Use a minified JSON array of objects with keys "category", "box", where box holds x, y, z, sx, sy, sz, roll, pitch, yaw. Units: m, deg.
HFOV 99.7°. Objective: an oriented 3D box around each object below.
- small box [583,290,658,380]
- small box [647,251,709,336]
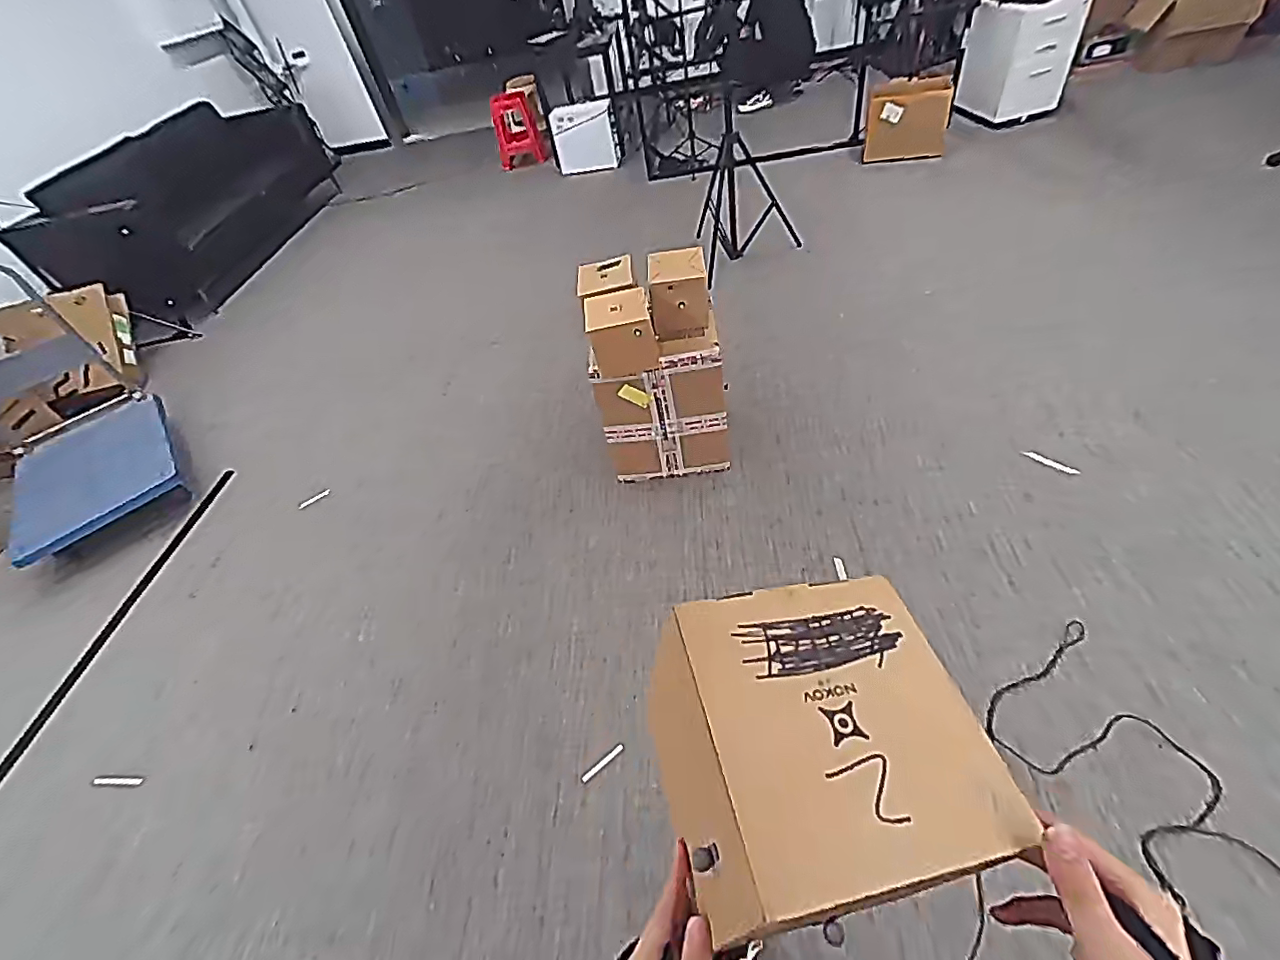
[{"category":"small box","box":[-0.054,-0.406,1.531,0.179,0.176,0.168,-11,49,3]},{"category":"small box","box":[0.113,-0.559,1.620,0.168,0.176,0.179,-5,49,5]}]
